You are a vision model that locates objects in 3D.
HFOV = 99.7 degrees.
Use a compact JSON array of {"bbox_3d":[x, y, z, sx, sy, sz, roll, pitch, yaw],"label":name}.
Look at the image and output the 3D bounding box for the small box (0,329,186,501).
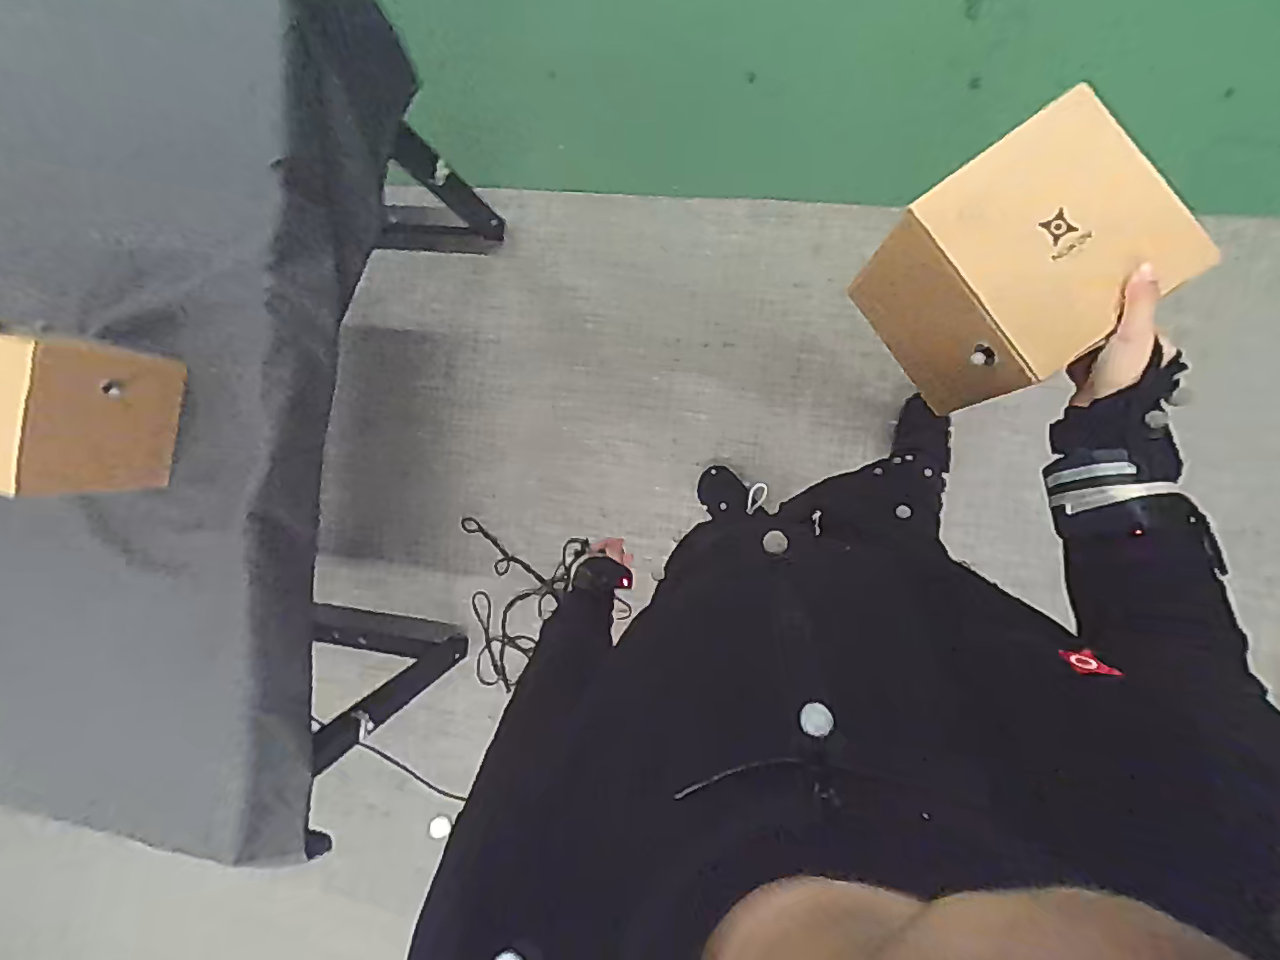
[{"bbox_3d":[-0.725,-0.084,0.680,0.168,0.176,0.179,14,96,10],"label":"small box"}]
